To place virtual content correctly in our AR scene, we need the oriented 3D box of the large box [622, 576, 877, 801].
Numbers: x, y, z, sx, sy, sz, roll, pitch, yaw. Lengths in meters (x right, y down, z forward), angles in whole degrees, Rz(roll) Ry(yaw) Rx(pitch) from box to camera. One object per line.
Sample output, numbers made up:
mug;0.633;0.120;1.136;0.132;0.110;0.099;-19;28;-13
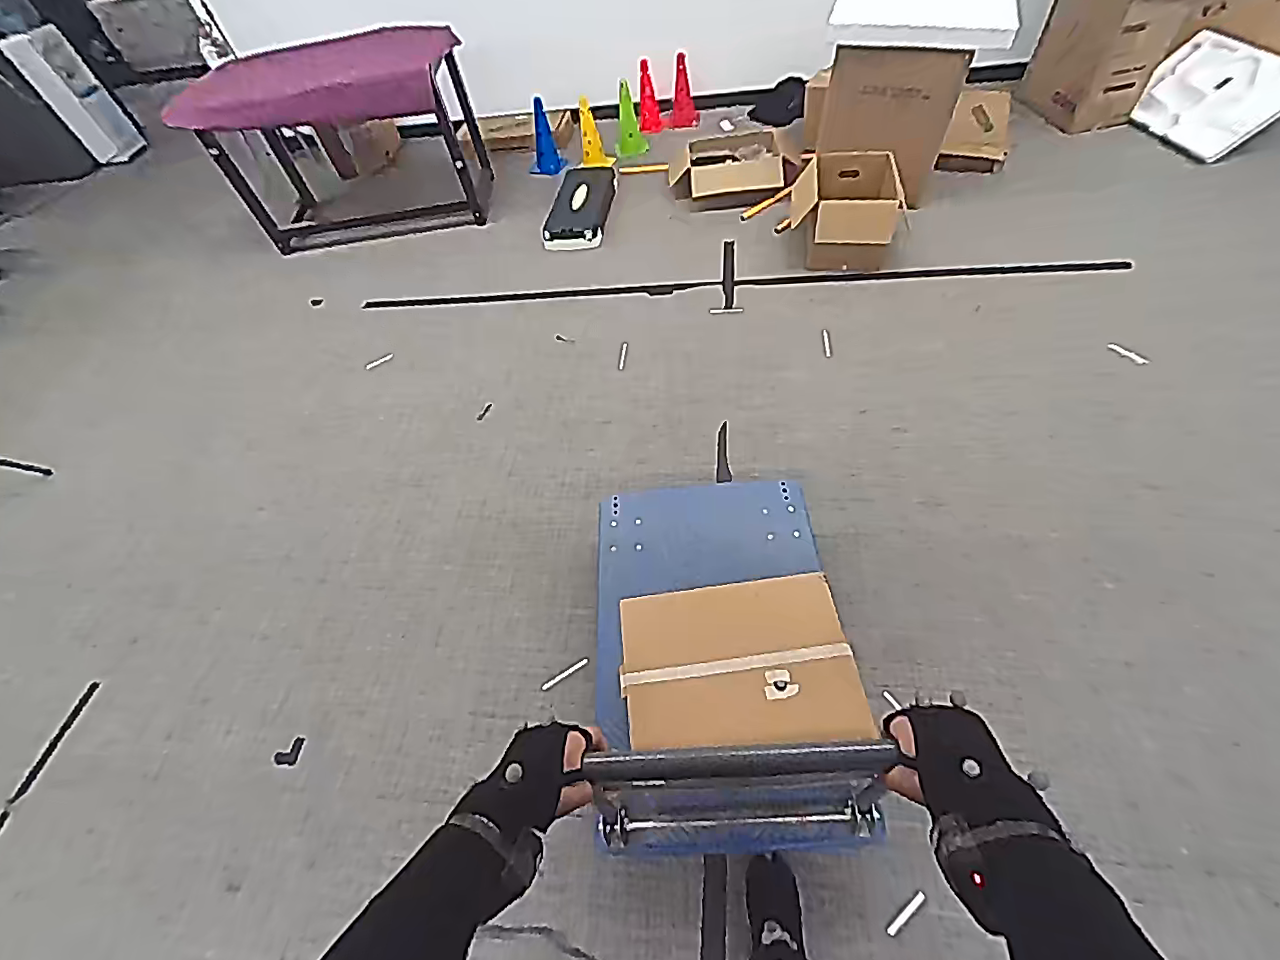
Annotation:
large box;0.191;0.428;1.091;0.408;0.320;0.320;-8;54;1
